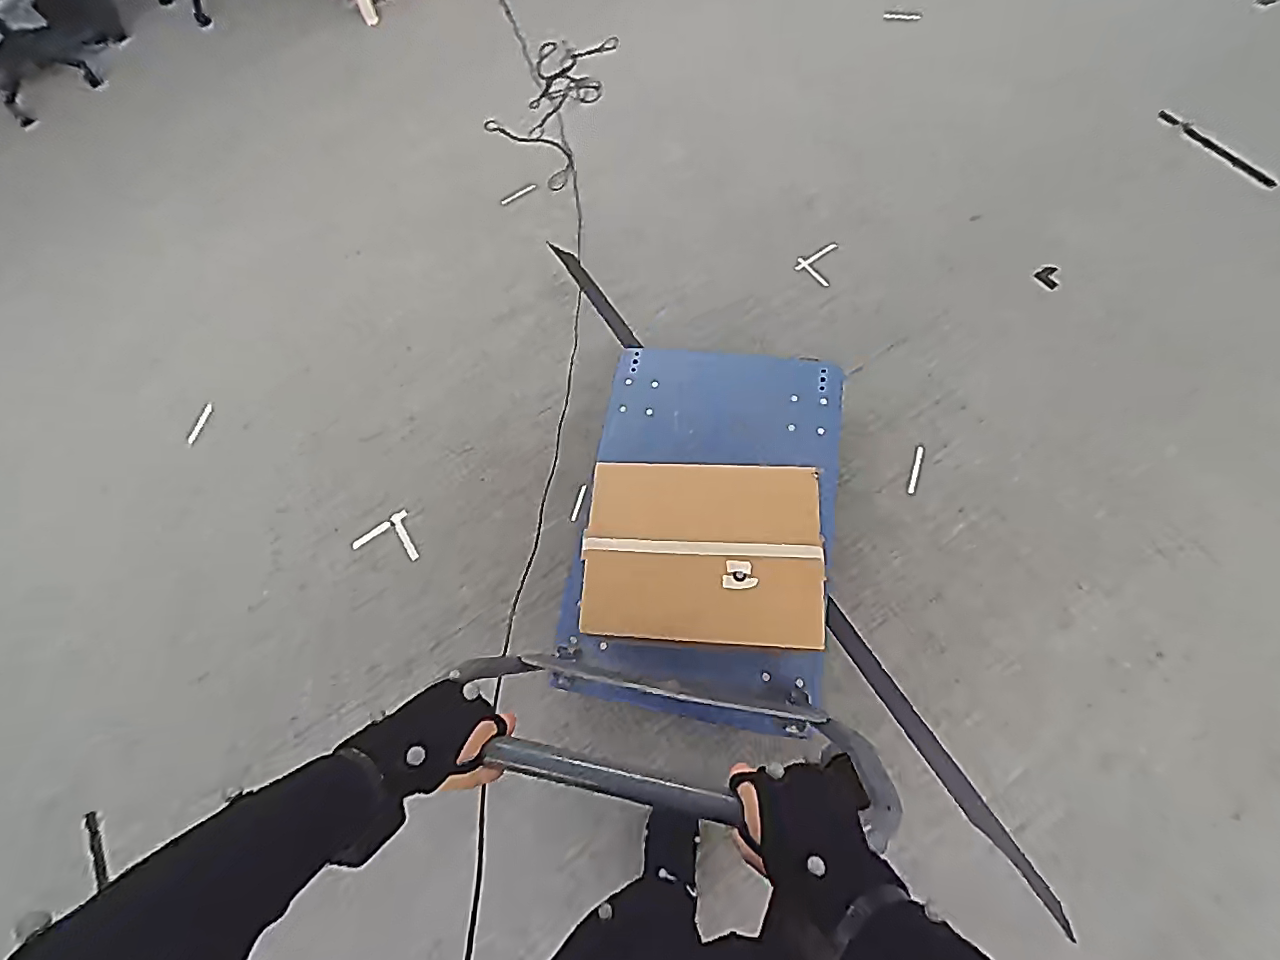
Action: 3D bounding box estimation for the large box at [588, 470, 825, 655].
[{"bbox_3d":[0.126,0.178,1.092,0.408,0.320,0.320,1,70,7],"label":"large box"}]
